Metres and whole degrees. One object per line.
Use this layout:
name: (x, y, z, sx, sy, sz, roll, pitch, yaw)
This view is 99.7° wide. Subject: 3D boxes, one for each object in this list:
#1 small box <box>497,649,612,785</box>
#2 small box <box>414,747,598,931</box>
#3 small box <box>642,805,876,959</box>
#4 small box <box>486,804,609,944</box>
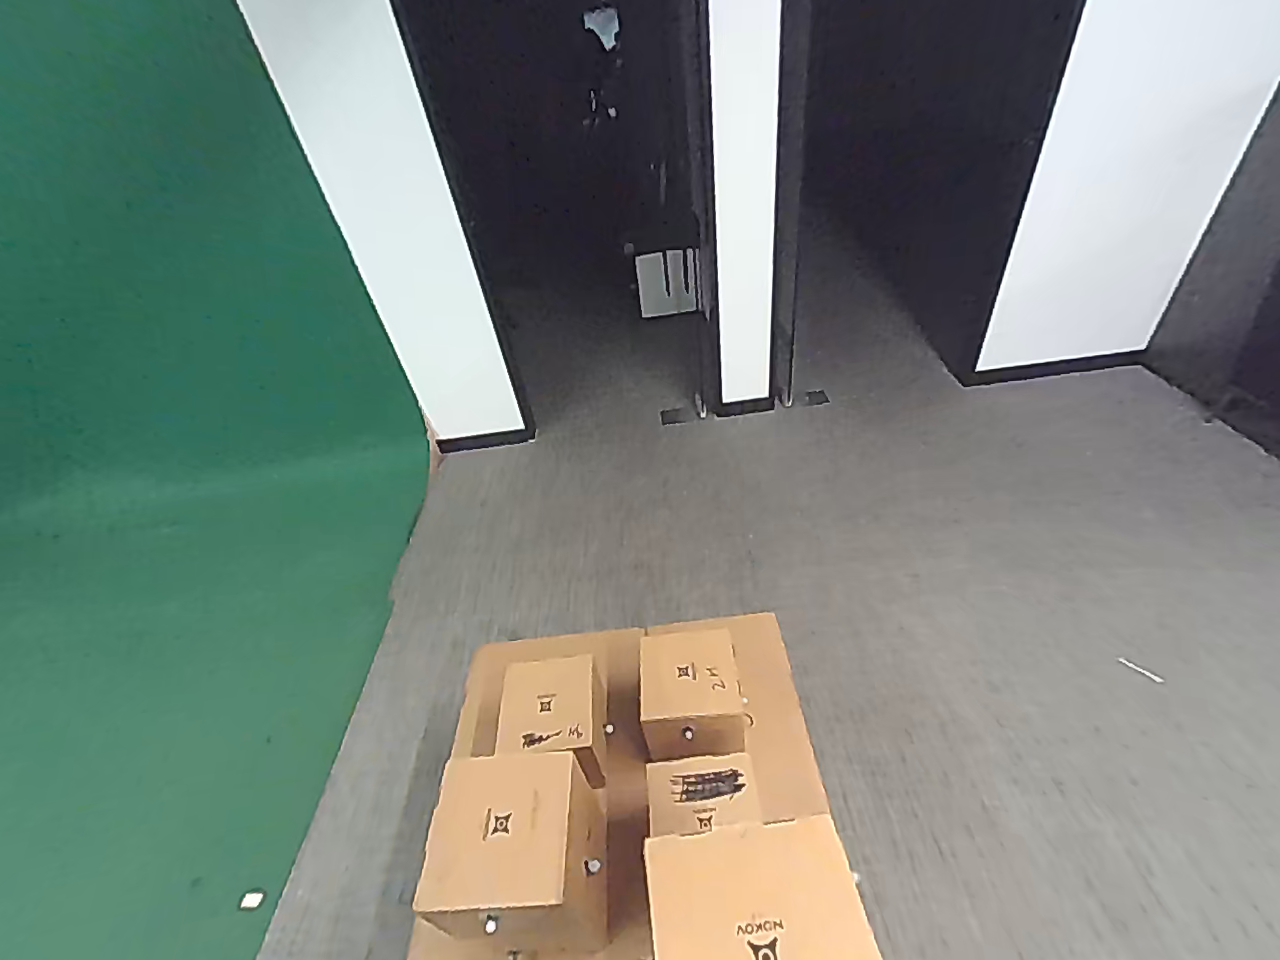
small box: (-0.149, 0.445, 1.003, 0.168, 0.176, 0.179, -9, 39, 3)
small box: (-0.160, 0.476, 0.715, 0.179, 0.176, 0.168, -6, 42, 5)
small box: (0.097, 0.410, 0.447, 0.168, 0.176, 0.179, -8, 32, -1)
small box: (-0.143, 0.589, 0.833, 0.168, 0.176, 0.179, -7, 39, 4)
